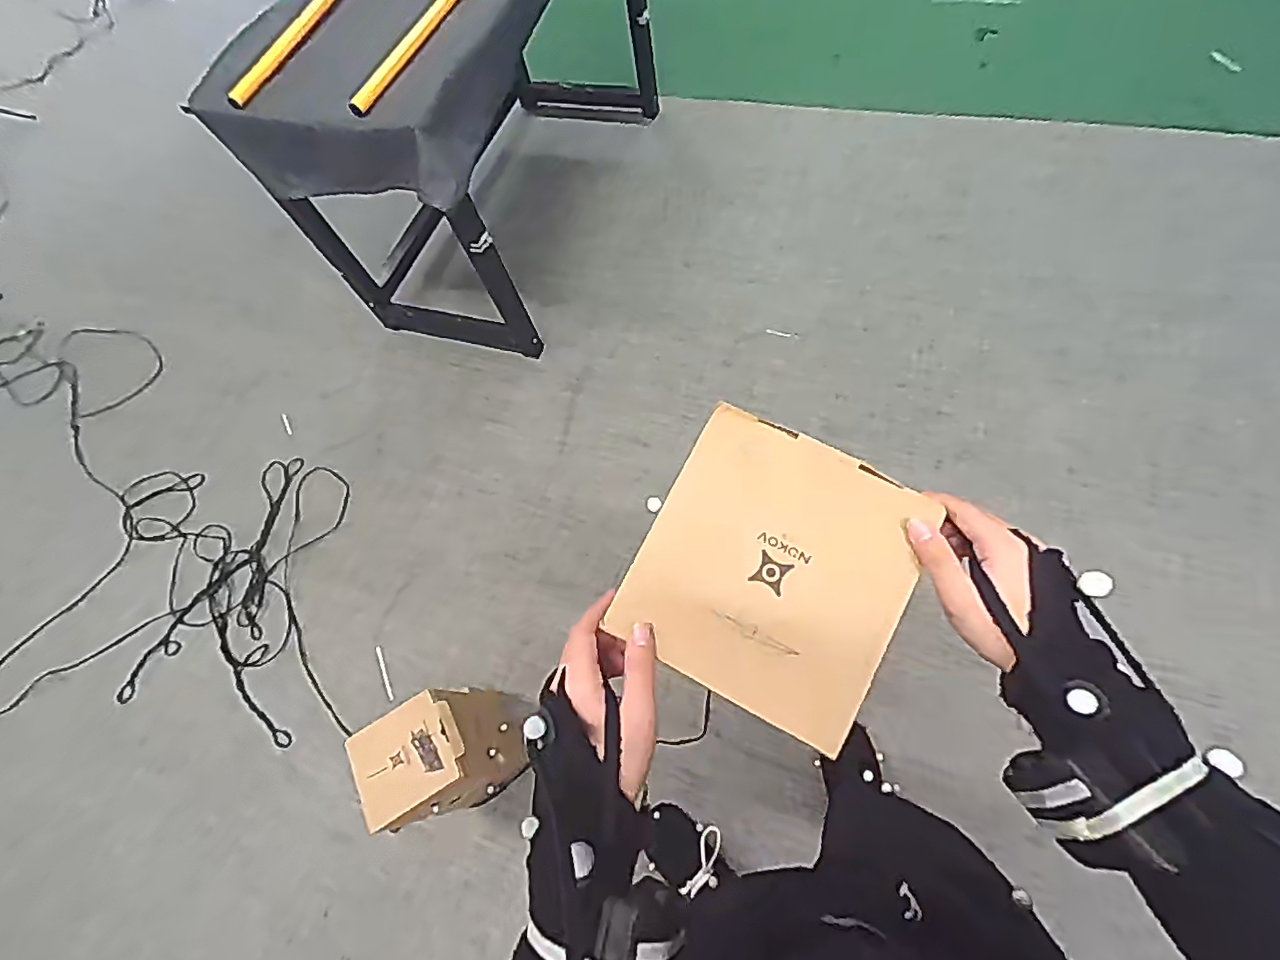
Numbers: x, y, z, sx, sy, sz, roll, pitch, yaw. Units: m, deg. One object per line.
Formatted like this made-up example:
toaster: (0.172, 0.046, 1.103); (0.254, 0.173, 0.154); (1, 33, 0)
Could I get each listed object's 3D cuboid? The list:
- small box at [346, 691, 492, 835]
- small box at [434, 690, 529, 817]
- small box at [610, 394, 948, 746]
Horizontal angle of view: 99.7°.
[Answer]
small box: (-0.395, 0.512, 1.000); (0.179, 0.176, 0.168); (-31, 64, -4)
small box: (-0.363, 0.571, 1.152); (0.168, 0.176, 0.179); (-36, 65, -7)
small box: (0.096, 0.065, 0.426); (0.168, 0.176, 0.179); (26, 83, 10)
